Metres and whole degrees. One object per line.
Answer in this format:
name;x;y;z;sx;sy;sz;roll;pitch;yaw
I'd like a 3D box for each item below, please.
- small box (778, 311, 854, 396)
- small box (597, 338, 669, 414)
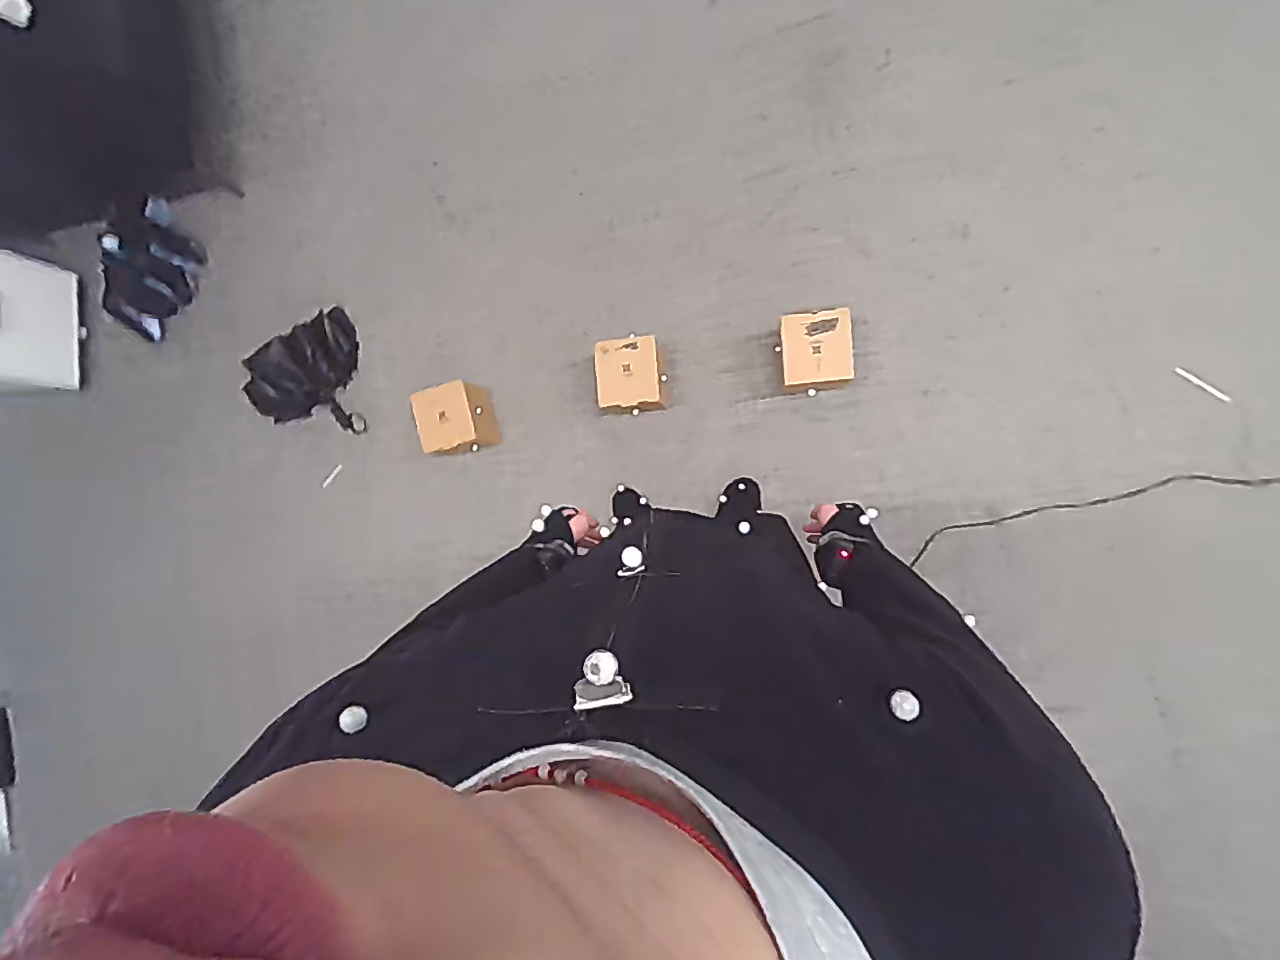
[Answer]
small box;0.451;-0.321;1.404;0.168;0.176;0.179;-4;91;12
small box;-0.015;-0.280;1.496;0.168;0.176;0.179;-4;90;11
